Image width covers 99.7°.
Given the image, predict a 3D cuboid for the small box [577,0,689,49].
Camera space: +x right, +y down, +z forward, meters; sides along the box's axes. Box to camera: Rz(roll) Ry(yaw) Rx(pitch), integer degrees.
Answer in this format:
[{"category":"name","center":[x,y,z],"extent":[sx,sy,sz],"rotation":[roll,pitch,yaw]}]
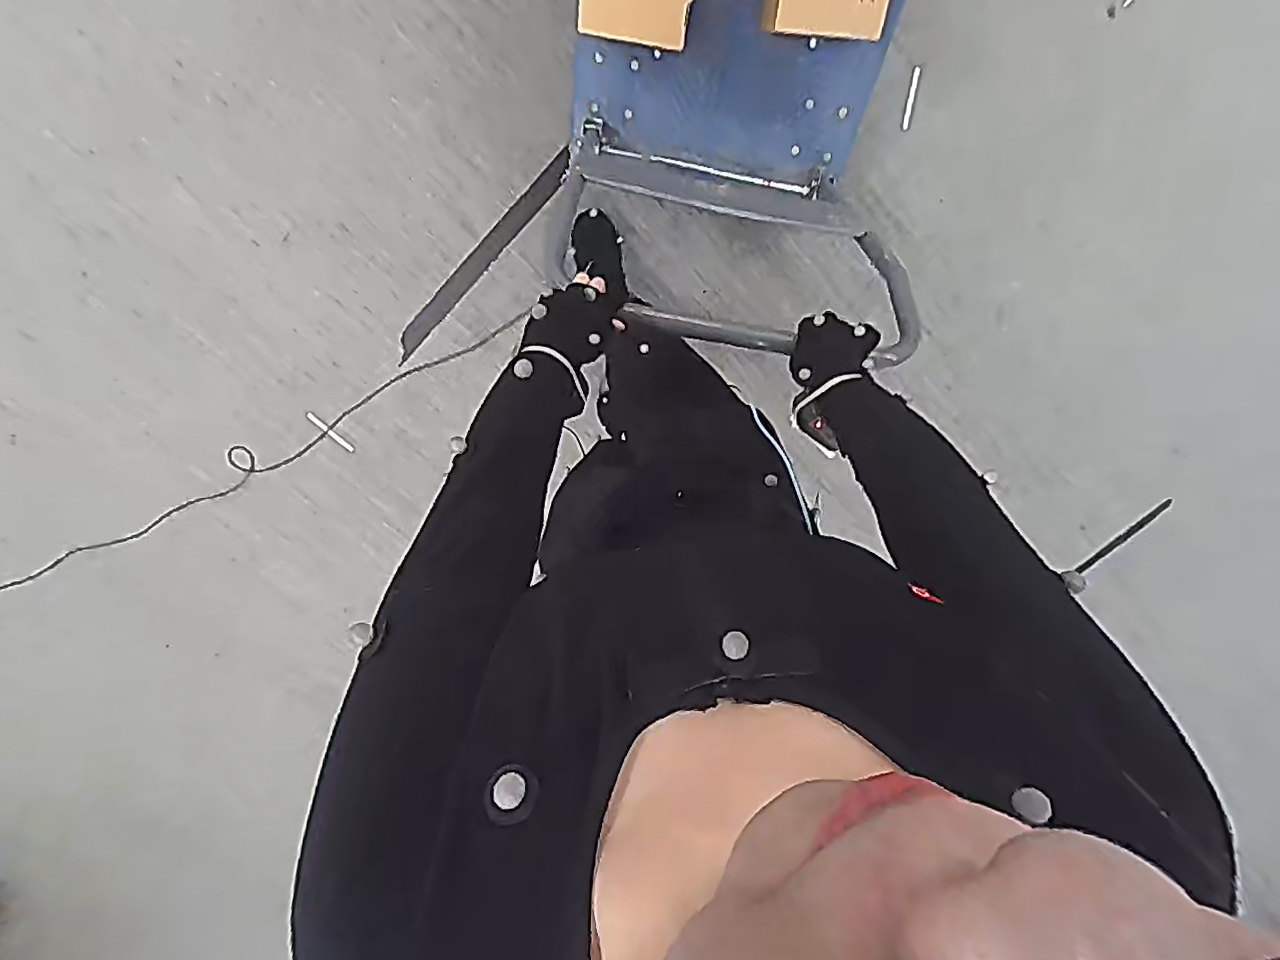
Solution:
[{"category":"small box","center":[-0.006,-0.829,0.892],"extent":[0.179,0.176,0.168],"rotation":[5,130,-5]}]

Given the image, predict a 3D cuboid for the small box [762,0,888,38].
[{"category":"small box","center":[0.306,-0.832,0.880],"extent":[0.179,0.176,0.168],"rotation":[4,130,-1]}]
